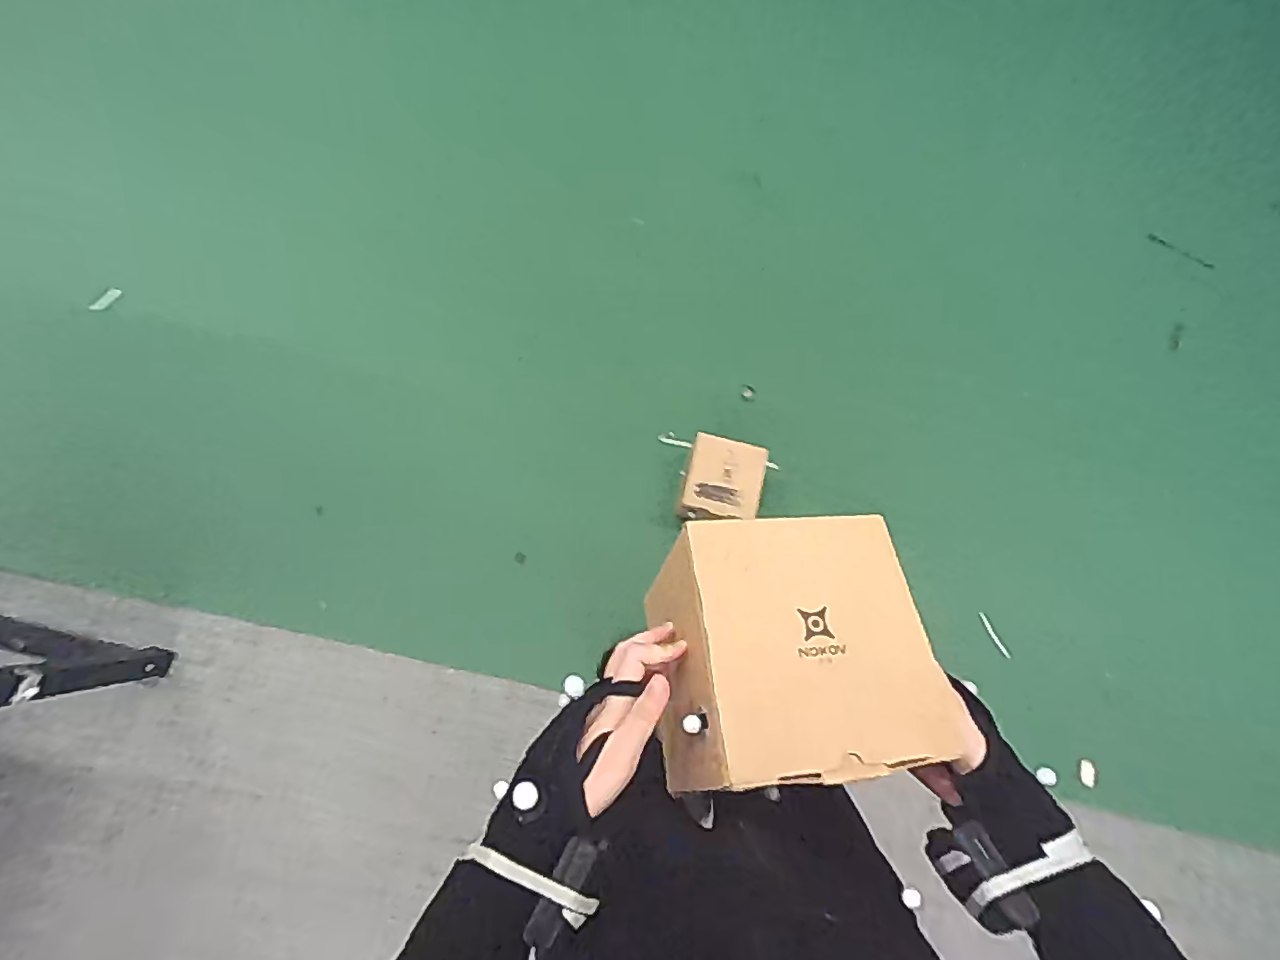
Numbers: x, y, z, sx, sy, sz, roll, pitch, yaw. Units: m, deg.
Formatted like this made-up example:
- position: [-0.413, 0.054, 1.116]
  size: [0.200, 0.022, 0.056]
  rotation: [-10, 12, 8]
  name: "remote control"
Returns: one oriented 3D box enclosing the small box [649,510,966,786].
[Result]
- position: [0.108, 0.139, 0.440]
  size: [0.168, 0.176, 0.179]
  rotation: [-1, 60, -12]
  name: "small box"
